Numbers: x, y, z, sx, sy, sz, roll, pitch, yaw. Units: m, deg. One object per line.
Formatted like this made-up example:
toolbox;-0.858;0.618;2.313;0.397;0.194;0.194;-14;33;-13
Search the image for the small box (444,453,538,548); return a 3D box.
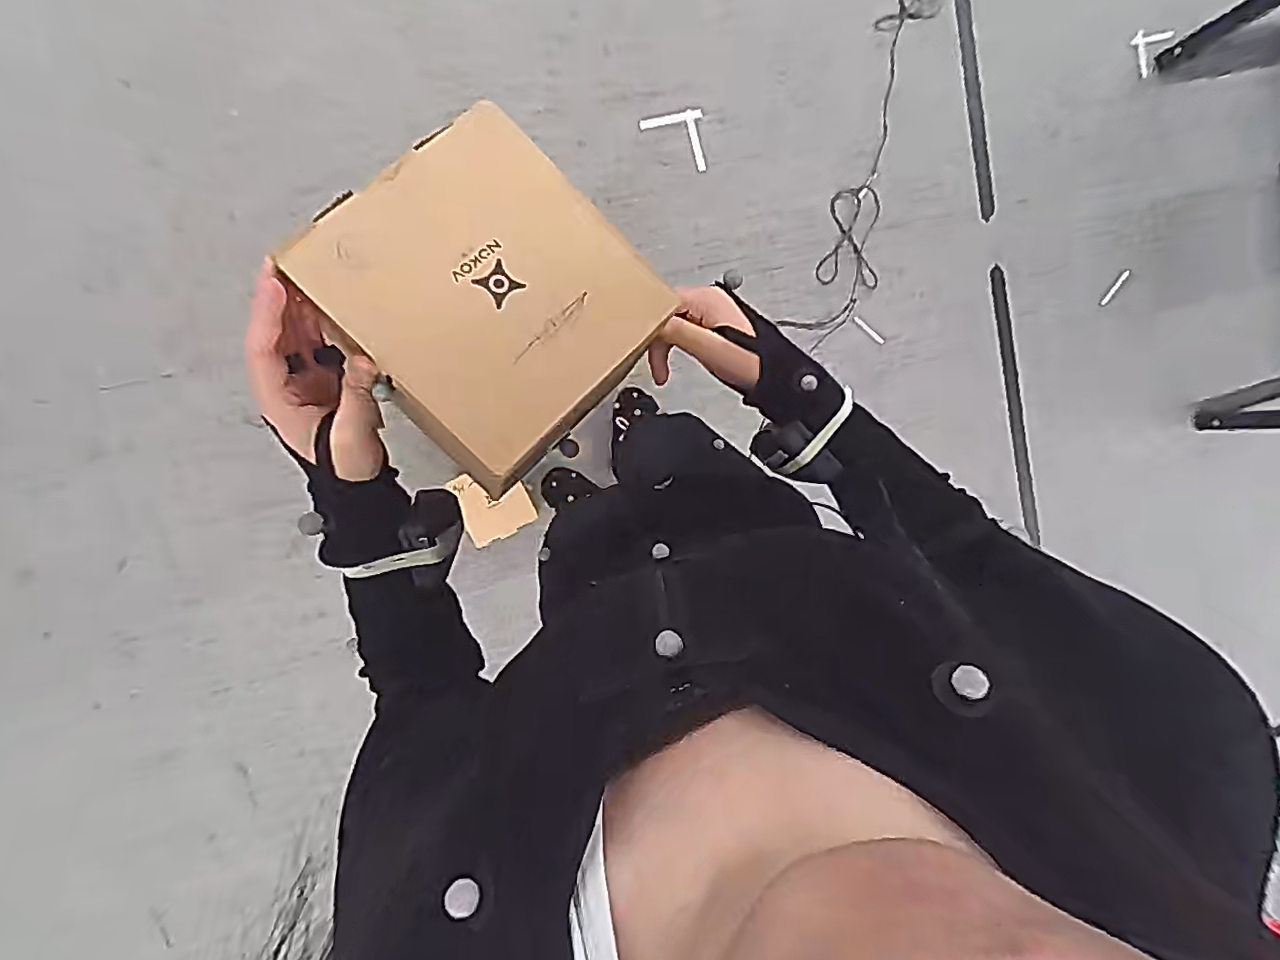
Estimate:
small box;-0.366;0.044;1.360;0.168;0.176;0.179;-27;100;-7
